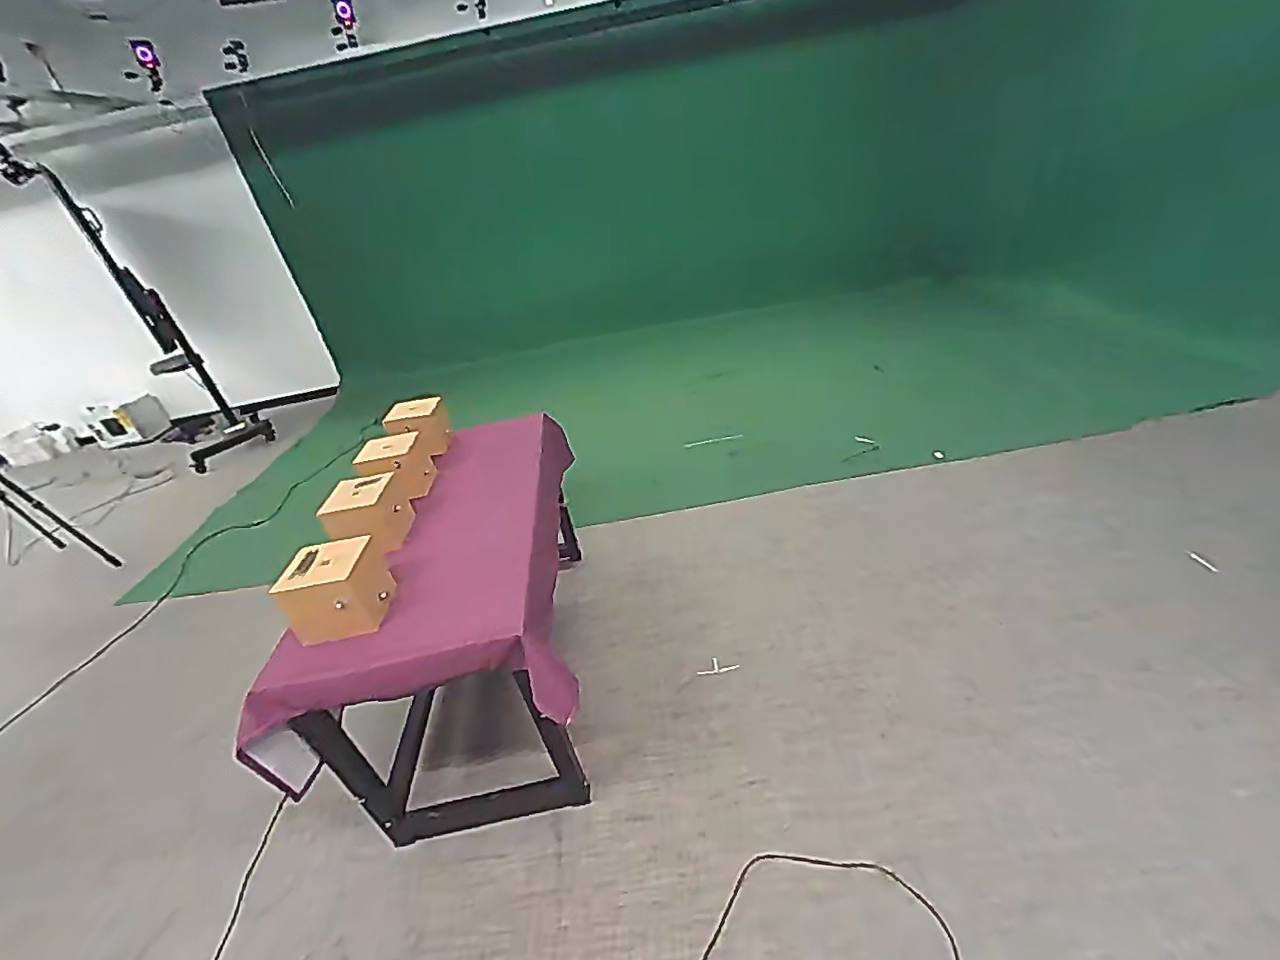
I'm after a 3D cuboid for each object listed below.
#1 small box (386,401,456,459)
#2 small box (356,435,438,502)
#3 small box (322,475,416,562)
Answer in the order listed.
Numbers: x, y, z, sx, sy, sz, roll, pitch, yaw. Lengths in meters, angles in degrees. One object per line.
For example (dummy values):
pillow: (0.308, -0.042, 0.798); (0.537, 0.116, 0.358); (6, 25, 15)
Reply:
small box: (-0.826, -0.182, 2.053); (0.179, 0.176, 0.168); (-8, 32, 1)
small box: (-0.805, -0.030, 1.809); (0.179, 0.176, 0.168); (-11, 31, -1)
small box: (-0.773, 0.111, 1.566); (0.168, 0.176, 0.179); (-11, 32, 1)
